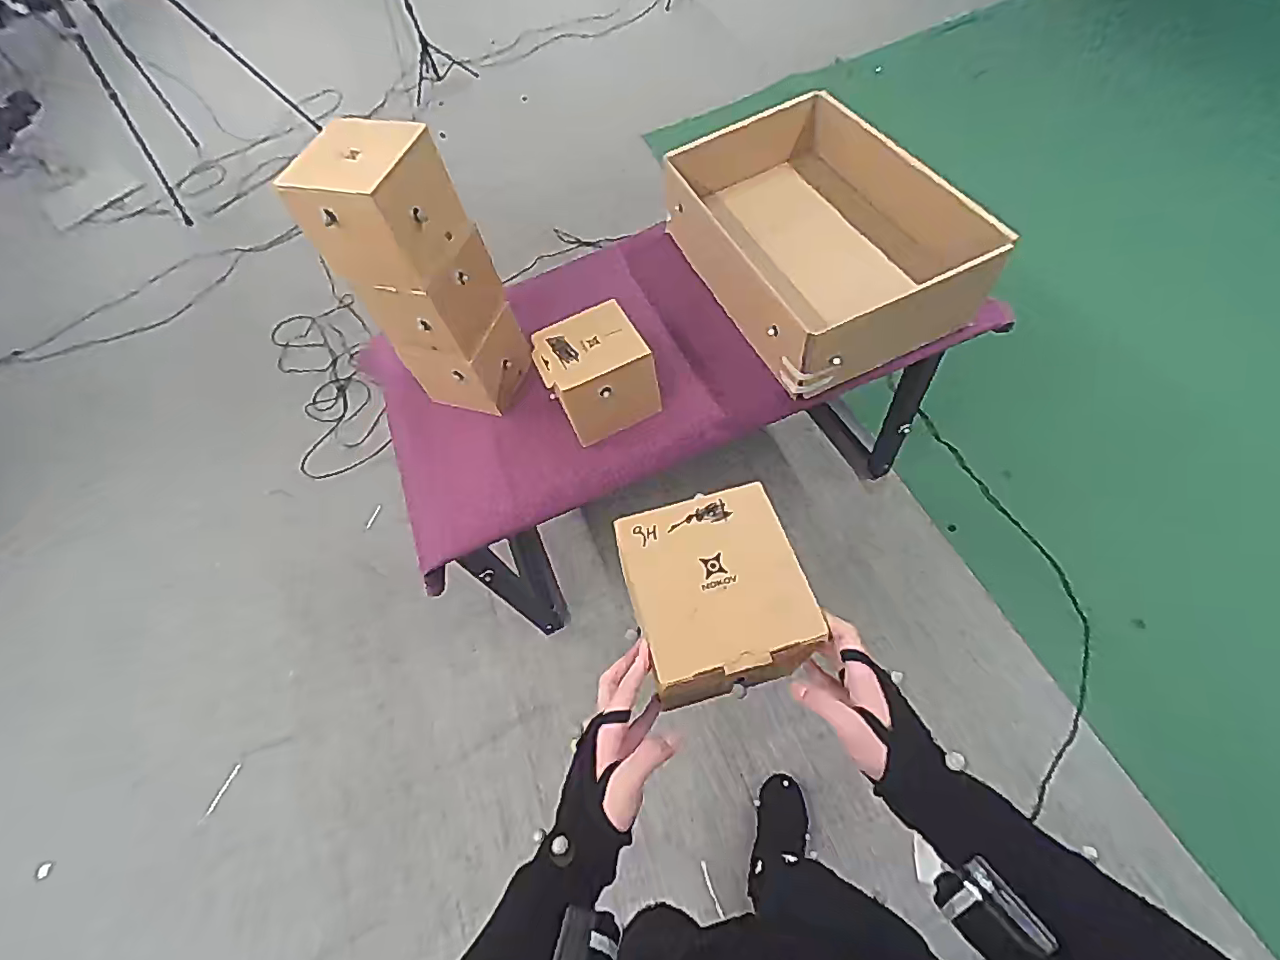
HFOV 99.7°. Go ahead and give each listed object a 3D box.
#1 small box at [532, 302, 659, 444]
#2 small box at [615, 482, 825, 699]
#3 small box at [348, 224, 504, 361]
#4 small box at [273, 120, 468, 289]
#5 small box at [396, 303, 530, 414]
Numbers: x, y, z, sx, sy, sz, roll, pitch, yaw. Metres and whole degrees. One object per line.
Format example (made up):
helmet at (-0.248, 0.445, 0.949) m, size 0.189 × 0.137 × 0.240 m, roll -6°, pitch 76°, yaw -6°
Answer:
small box at (-0.079, -0.197, 1.032) m, size 0.179 × 0.176 × 0.168 m, roll -26°, pitch 59°, yaw -6°
small box at (0.077, 0.132, 0.601) m, size 0.168 × 0.176 × 0.179 m, roll -15°, pitch 61°, yaw -6°
small box at (-0.370, -0.341, 0.975) m, size 0.168 × 0.176 × 0.179 m, roll 14°, pitch 64°, yaw 15°
small box at (-0.398, -0.419, 0.837) m, size 0.179 × 0.176 × 0.168 m, roll 12°, pitch 64°, yaw 15°
small box at (-0.351, -0.255, 1.113) m, size 0.179 × 0.176 × 0.168 m, roll 13°, pitch 63°, yaw 16°
